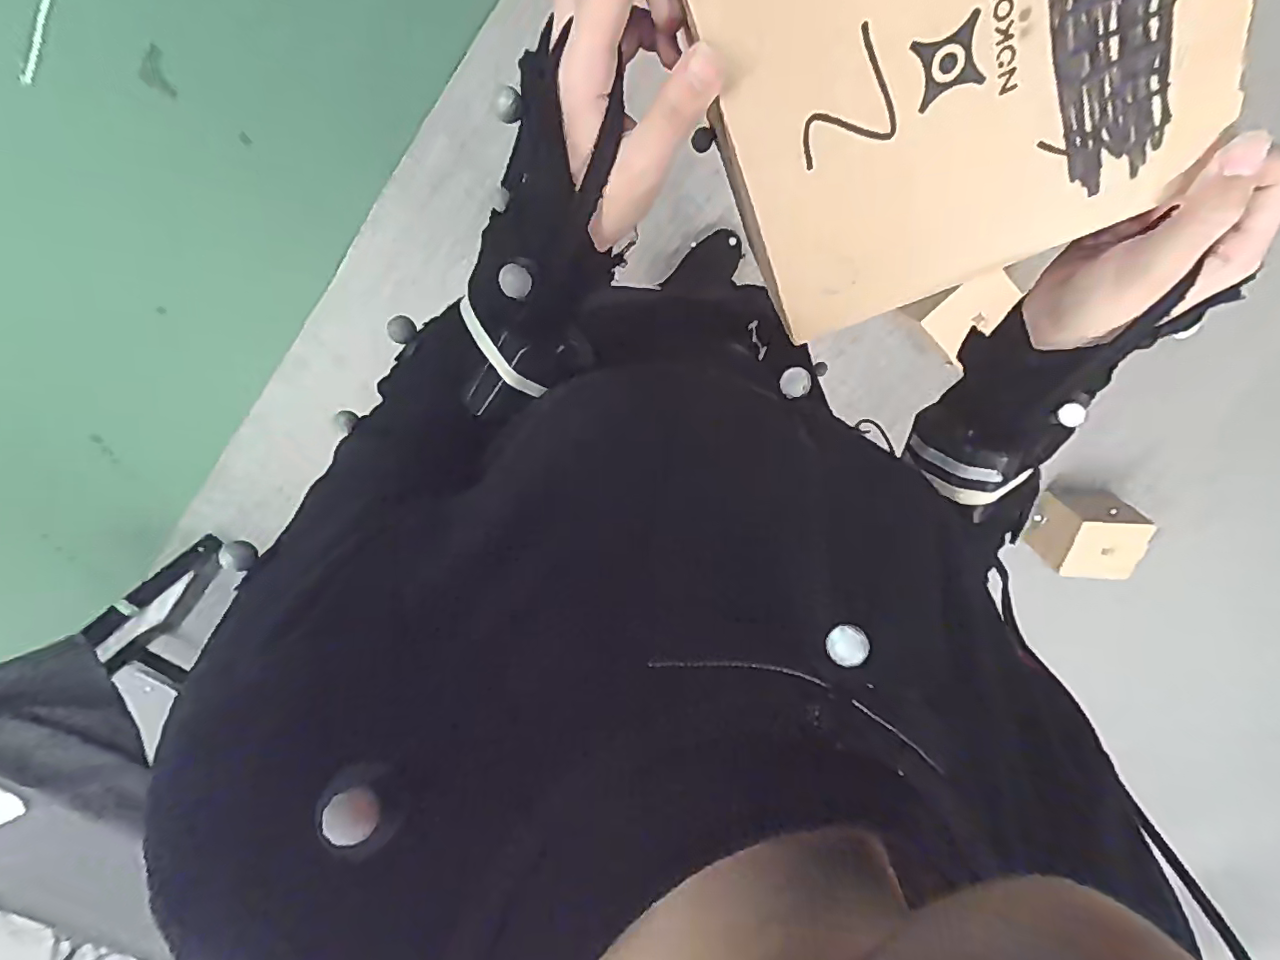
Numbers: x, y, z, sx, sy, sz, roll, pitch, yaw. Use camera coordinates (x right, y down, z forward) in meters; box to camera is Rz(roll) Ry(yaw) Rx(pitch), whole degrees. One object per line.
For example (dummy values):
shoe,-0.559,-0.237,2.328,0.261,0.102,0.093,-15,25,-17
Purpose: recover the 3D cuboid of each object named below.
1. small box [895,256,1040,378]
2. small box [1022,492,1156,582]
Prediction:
small box,0.678,-0.352,1.143,0.179,0.176,0.168,39,114,-17
small box,1.138,0.142,1.386,0.179,0.176,0.168,3,118,3
